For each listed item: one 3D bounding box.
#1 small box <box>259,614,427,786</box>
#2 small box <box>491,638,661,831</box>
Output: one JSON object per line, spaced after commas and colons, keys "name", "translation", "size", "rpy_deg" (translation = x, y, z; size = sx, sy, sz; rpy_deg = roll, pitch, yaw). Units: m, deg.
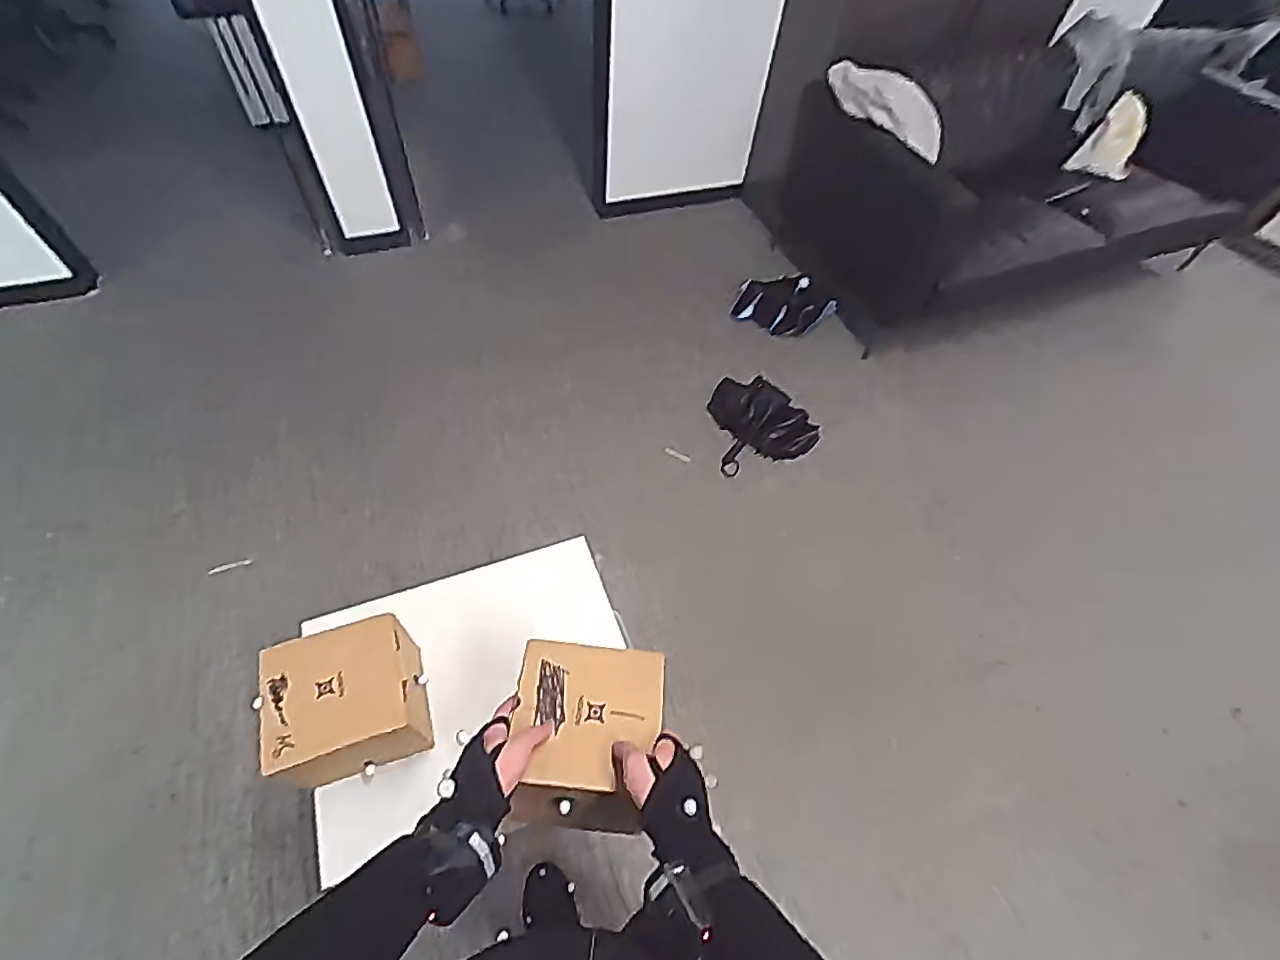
{"name": "small box", "translation": [-0.418, 0.320, 0.783], "size": [0.179, 0.176, 0.168], "rpy_deg": [-14, 59, -17]}
{"name": "small box", "translation": [-0.073, 0.320, 0.675], "size": [0.179, 0.176, 0.168], "rpy_deg": [7, 44, -2]}
